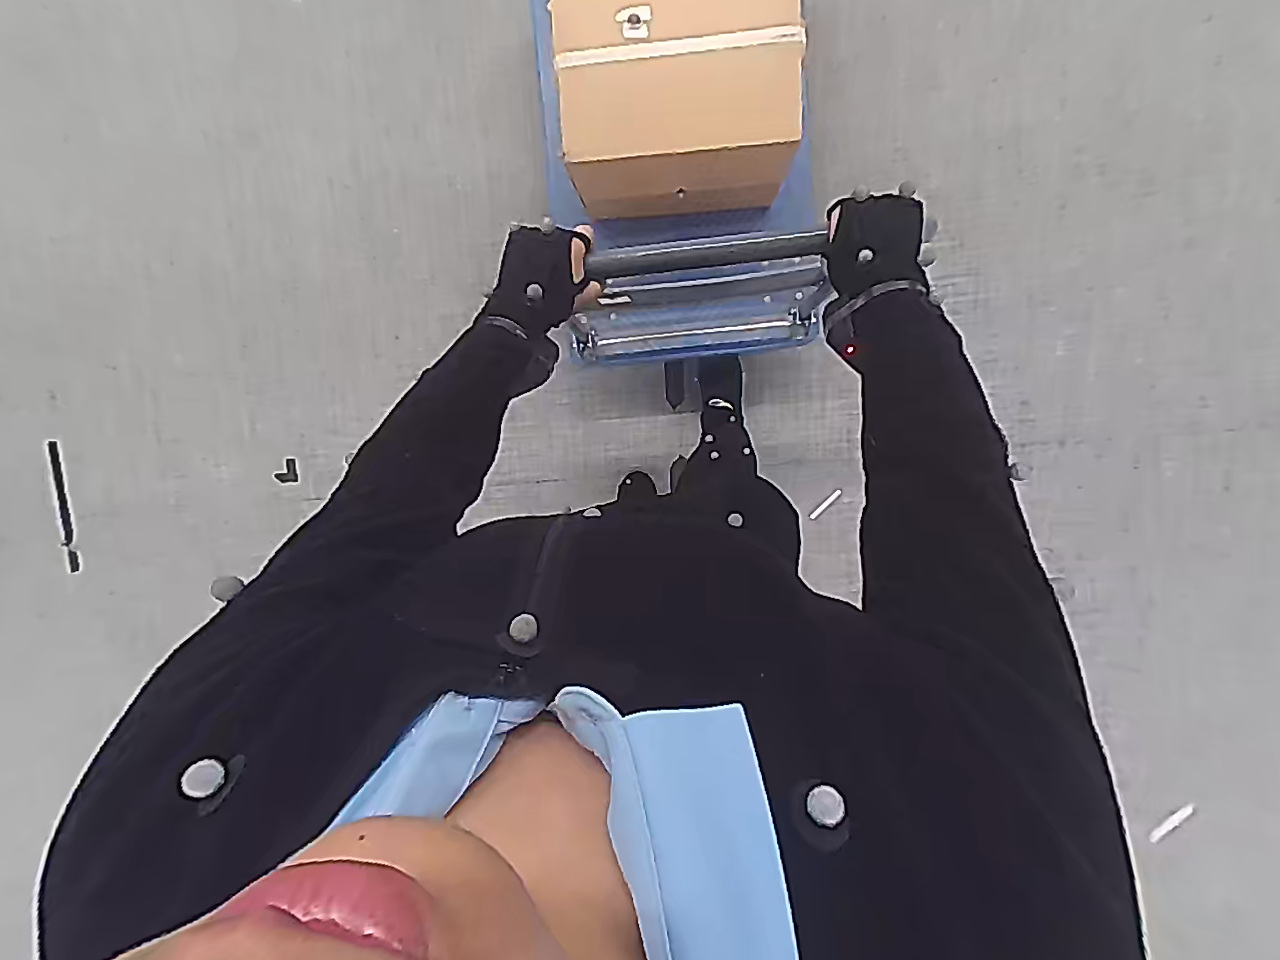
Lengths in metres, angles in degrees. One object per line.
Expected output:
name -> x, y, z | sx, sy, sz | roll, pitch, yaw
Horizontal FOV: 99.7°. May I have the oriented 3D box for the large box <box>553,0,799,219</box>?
large box -> 0.073, -0.733, 1.053 | 0.408, 0.320, 0.320 | -3, 97, 5
